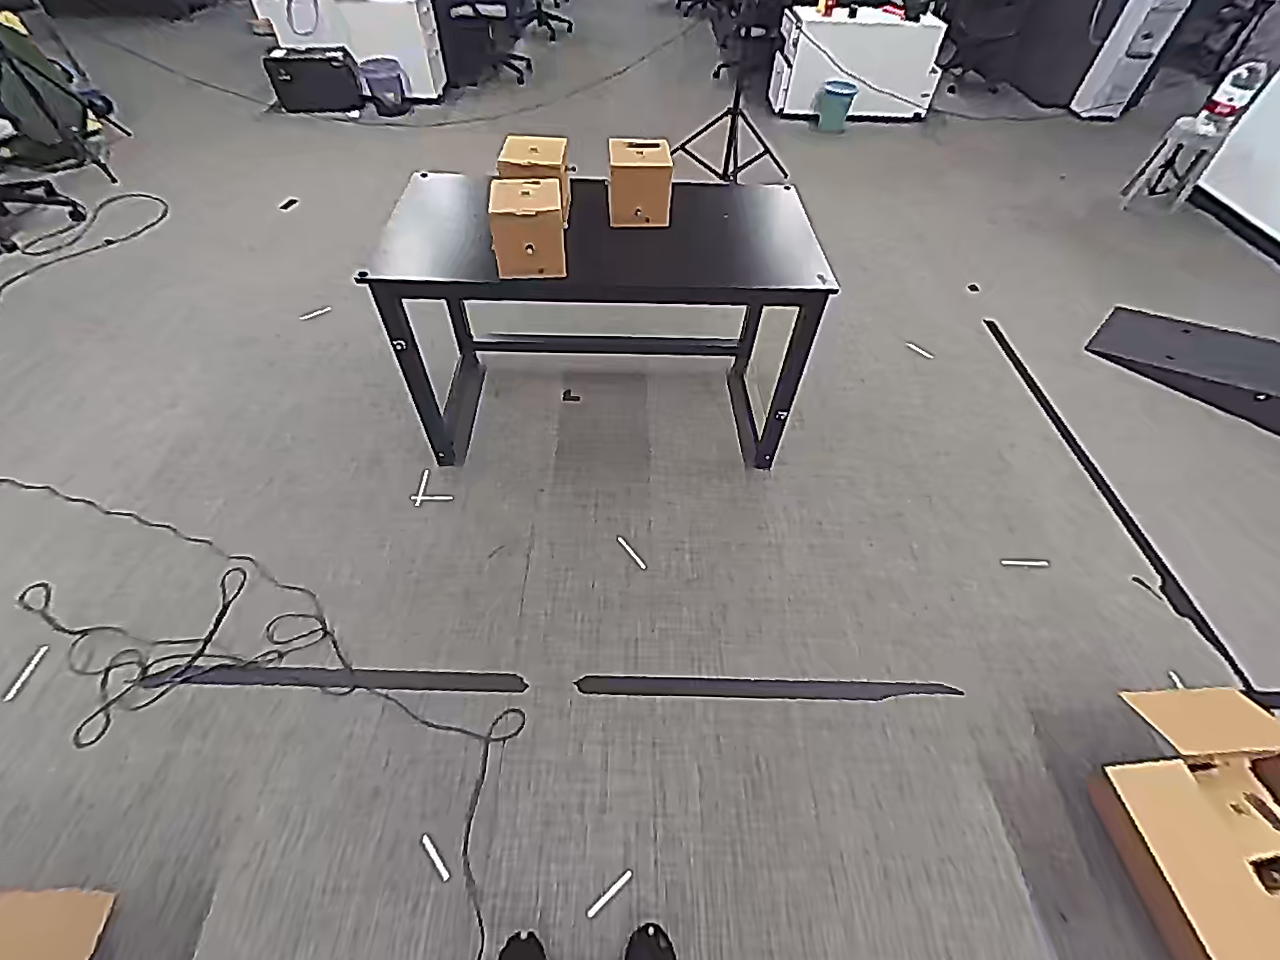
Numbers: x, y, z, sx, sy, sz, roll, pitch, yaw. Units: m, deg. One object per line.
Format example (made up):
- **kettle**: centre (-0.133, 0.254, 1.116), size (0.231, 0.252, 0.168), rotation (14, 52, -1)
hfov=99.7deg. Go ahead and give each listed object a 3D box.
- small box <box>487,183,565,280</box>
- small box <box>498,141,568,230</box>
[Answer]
- **small box**: centre (-0.279, -0.615, 1.351), size (0.168, 0.176, 0.179), rotation (-4, 52, -6)
- **small box**: centre (-0.293, -0.825, 1.522), size (0.168, 0.176, 0.179), rotation (1, 51, -1)
